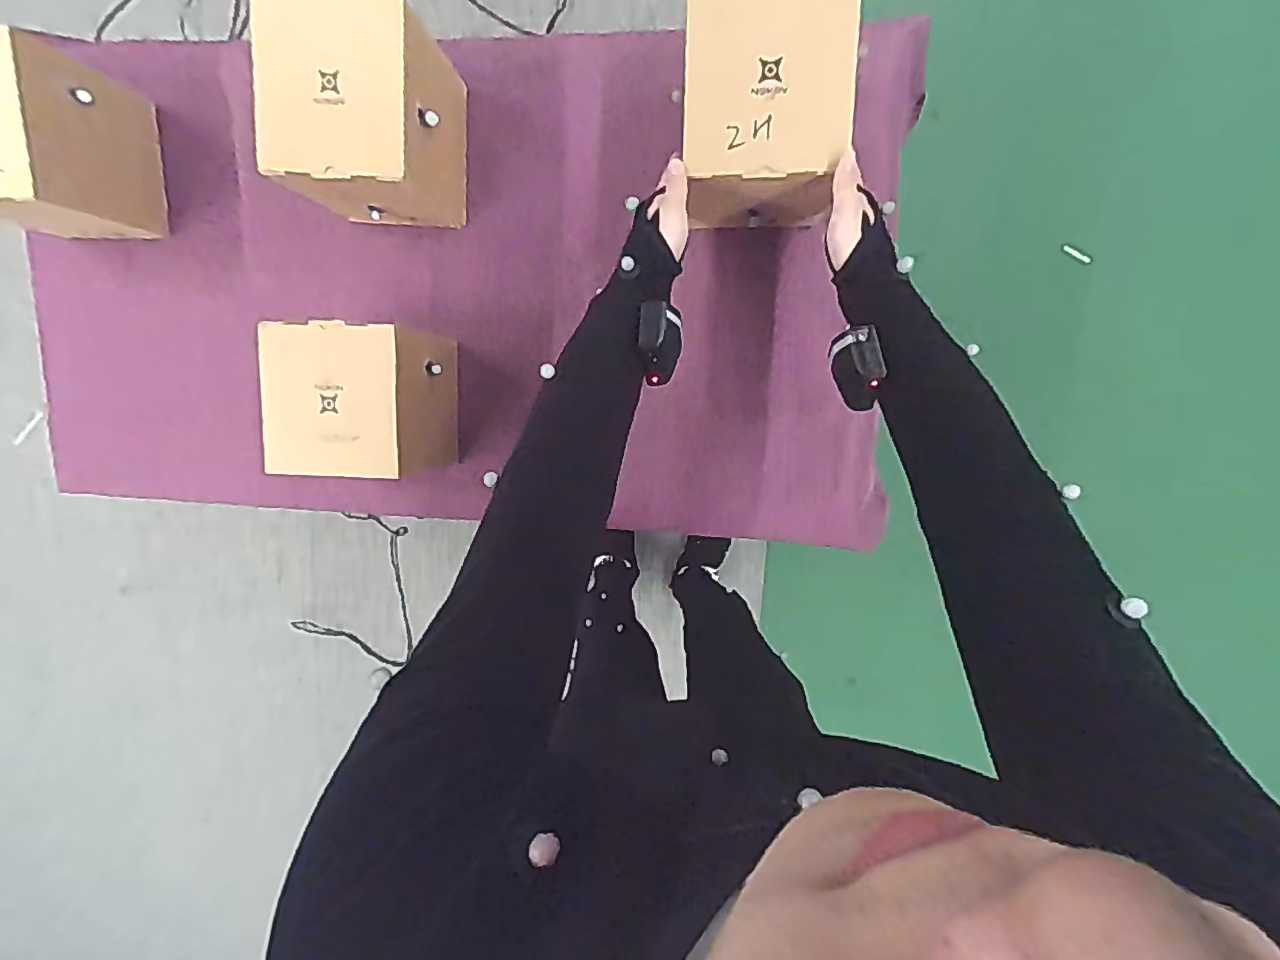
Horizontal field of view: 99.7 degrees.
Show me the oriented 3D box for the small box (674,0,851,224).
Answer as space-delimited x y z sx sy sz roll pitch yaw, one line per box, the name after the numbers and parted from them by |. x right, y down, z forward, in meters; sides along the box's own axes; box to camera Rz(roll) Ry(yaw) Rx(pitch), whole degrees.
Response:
0.129 -0.408 0.613 0.168 0.176 0.179 3 100 9 | small box

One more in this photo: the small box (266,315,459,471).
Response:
-0.352 -0.111 0.712 0.168 0.176 0.179 4 98 6 | small box

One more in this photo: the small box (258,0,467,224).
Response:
-0.322 -0.432 0.658 0.168 0.176 0.179 5 102 4 | small box
